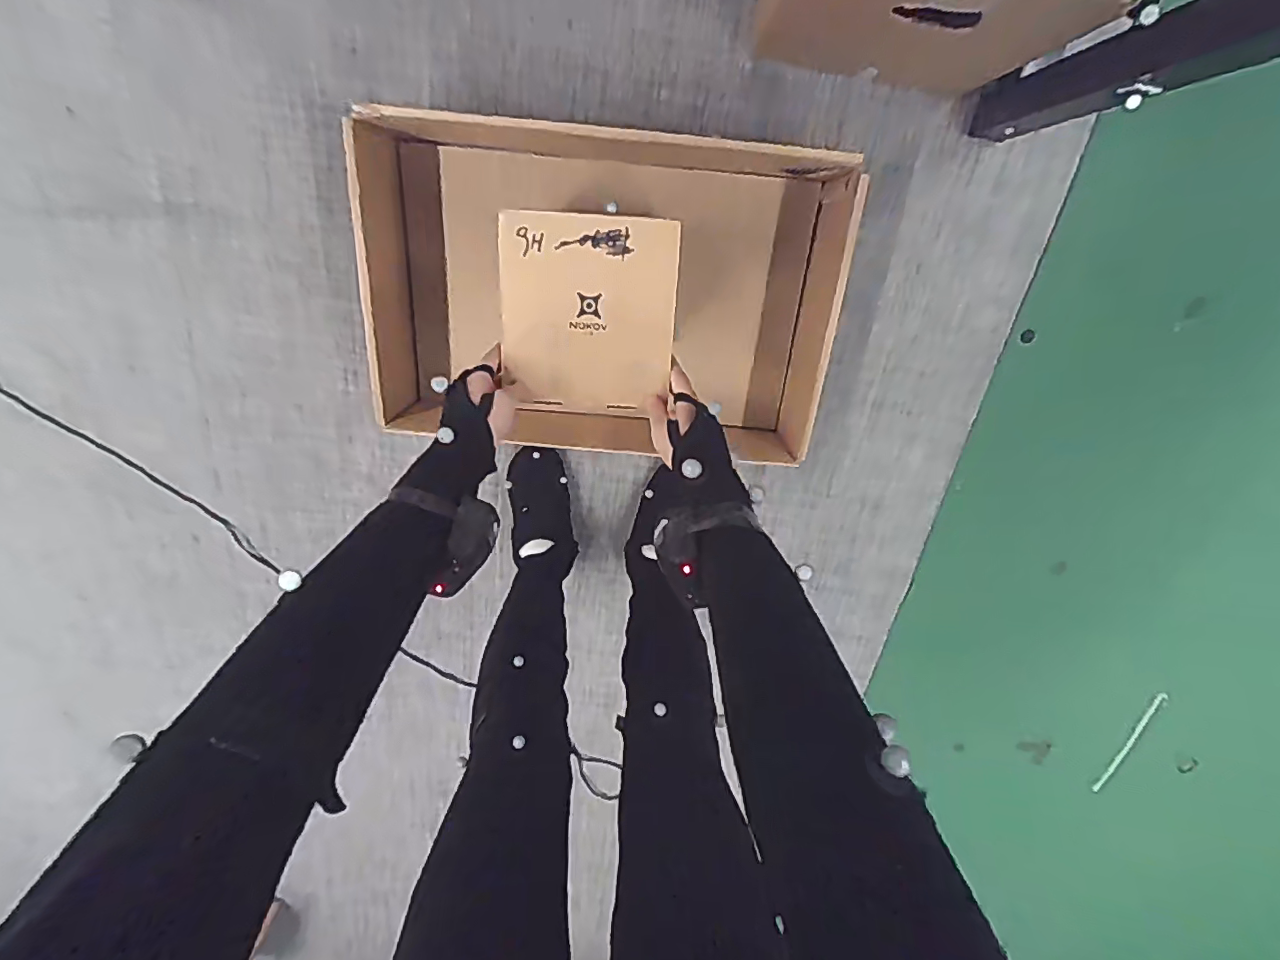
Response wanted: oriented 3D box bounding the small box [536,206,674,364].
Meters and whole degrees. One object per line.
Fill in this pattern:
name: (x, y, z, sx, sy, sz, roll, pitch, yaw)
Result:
small box: (-0.047, -0.267, 0.741, 0.168, 0.176, 0.179, 4, 114, -1)
